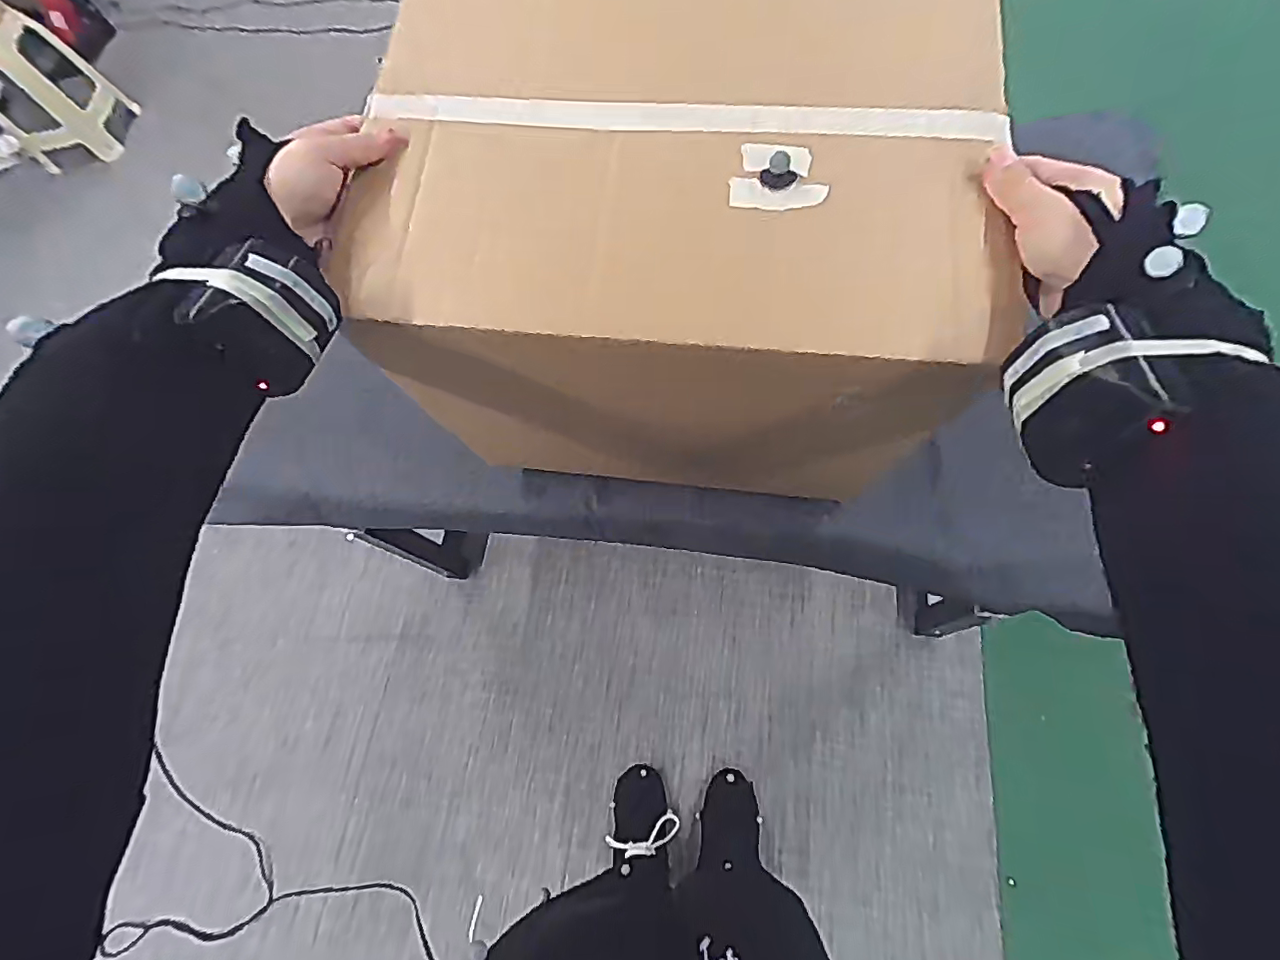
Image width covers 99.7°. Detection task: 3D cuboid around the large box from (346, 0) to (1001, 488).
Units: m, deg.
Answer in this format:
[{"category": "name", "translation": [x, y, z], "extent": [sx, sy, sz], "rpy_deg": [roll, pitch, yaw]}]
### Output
[{"category": "large box", "translation": [0.030, -0.189, 0.506], "extent": [0.408, 0.320, 0.320], "rpy_deg": [5, 75, 4]}]
